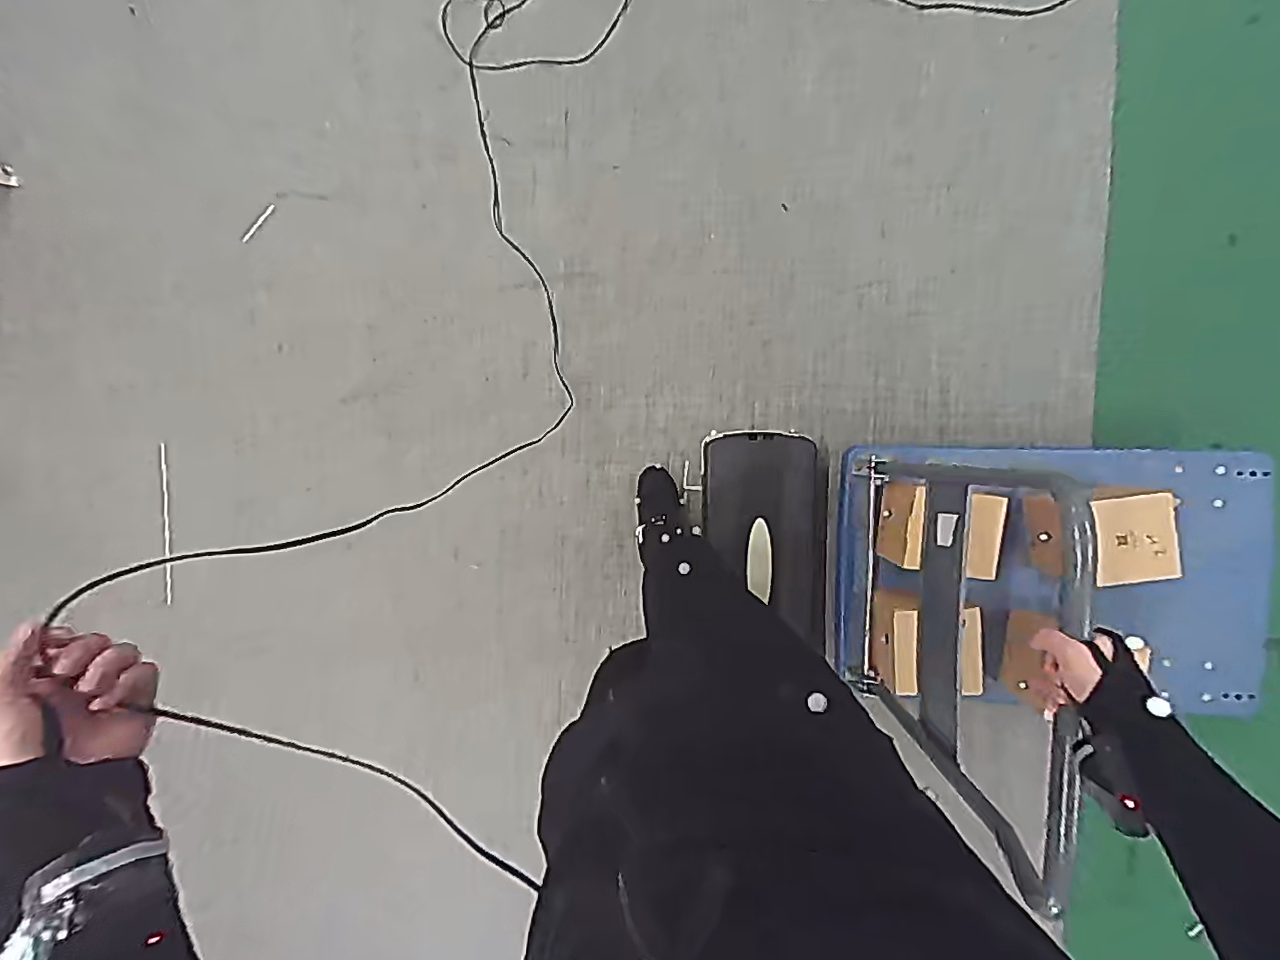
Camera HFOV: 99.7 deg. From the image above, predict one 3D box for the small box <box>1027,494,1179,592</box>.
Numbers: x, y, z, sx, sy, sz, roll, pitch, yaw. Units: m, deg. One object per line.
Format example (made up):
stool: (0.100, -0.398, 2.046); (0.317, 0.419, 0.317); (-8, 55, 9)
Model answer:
small box: (0.919, 0.122, 1.094); (0.179, 0.176, 0.168); (-7, 92, 7)

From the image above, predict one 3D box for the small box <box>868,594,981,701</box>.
small box: (0.589, 0.344, 1.139); (0.168, 0.176, 0.179); (-2, 93, 7)

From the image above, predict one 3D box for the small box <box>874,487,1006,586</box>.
small box: (0.616, 0.109, 1.129); (0.179, 0.176, 0.168); (8, 94, 6)
